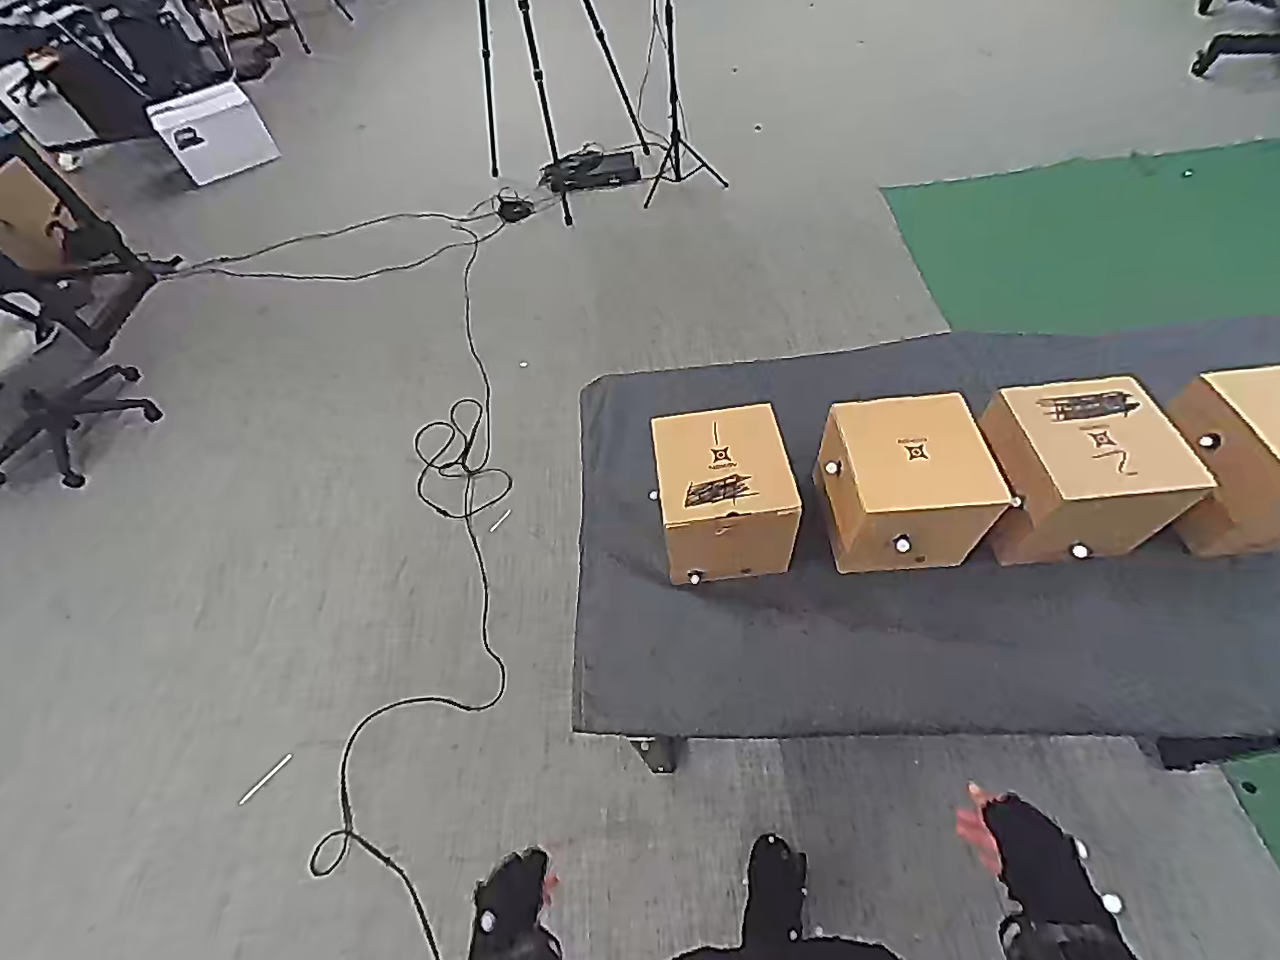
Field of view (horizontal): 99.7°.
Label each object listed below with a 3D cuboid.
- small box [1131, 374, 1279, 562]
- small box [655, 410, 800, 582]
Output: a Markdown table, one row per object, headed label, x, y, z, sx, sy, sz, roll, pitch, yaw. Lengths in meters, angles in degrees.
| label | x | y | z | sx | sy | sz | roll | pitch | yaw |
| --- | --- | --- | --- | --- | --- | --- | --- | --- | --- |
| small box | 0.795 | -0.015 | 0.688 | 0.168 | 0.176 | 0.179 | -6 | 53 | 5 |
| small box | 0.115 | 0.031 | 0.753 | 0.168 | 0.176 | 0.179 | -7 | 52 | 2 |
